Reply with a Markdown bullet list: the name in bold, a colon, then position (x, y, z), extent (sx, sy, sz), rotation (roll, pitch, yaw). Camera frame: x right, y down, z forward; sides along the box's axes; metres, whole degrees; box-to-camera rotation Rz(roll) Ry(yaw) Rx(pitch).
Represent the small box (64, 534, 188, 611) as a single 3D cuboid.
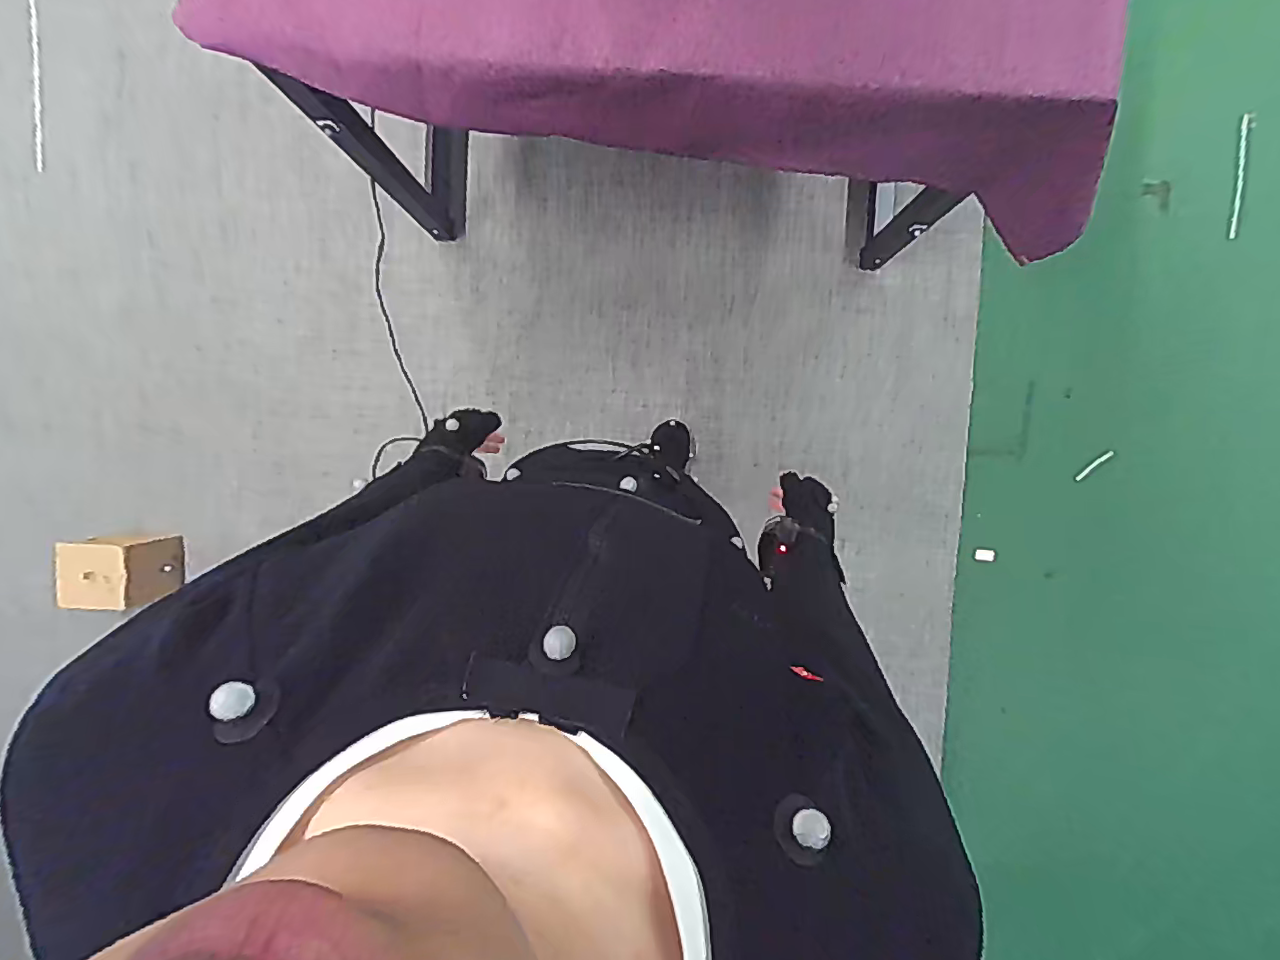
- **small box**: position (-1.352, 0.239, 1.429), extent (0.179, 0.176, 0.168), rotation (3, 94, 1)
